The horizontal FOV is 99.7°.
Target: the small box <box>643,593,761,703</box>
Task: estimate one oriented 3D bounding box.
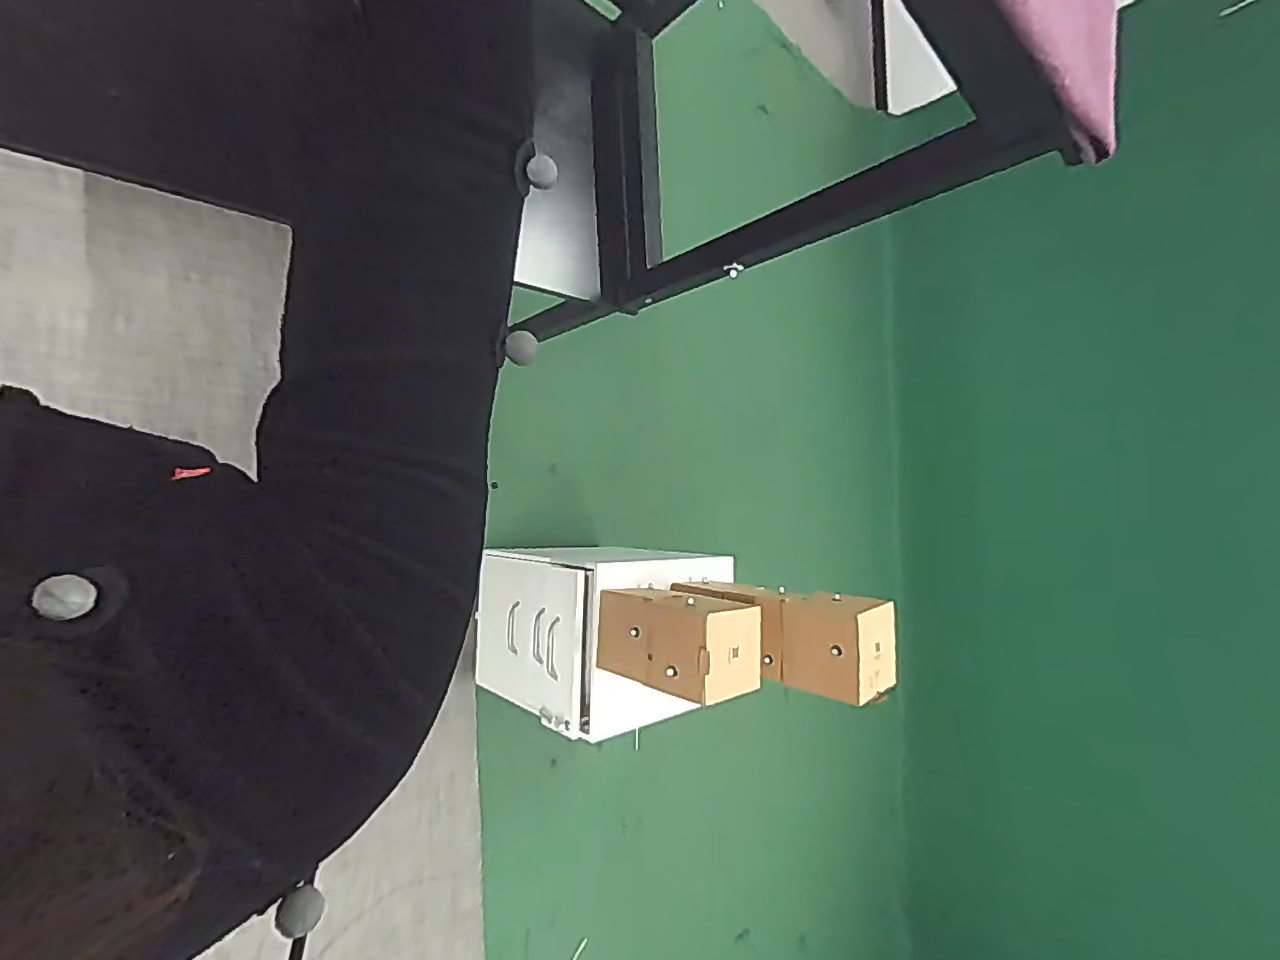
[{"bbox_3d":[0.121,0.324,1.077,0.179,0.176,0.168,4,86,-44],"label":"small box"}]

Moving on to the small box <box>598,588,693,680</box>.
[{"bbox_3d":[0.022,0.335,1.206,0.168,0.176,0.179,9,83,-44],"label":"small box"}]

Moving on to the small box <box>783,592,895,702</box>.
[{"bbox_3d":[0.411,0.334,1.127,0.168,0.176,0.179,0,90,-43],"label":"small box"}]

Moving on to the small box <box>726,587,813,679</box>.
[{"bbox_3d":[0.302,0.343,1.250,0.168,0.176,0.179,9,83,-43],"label":"small box"}]
